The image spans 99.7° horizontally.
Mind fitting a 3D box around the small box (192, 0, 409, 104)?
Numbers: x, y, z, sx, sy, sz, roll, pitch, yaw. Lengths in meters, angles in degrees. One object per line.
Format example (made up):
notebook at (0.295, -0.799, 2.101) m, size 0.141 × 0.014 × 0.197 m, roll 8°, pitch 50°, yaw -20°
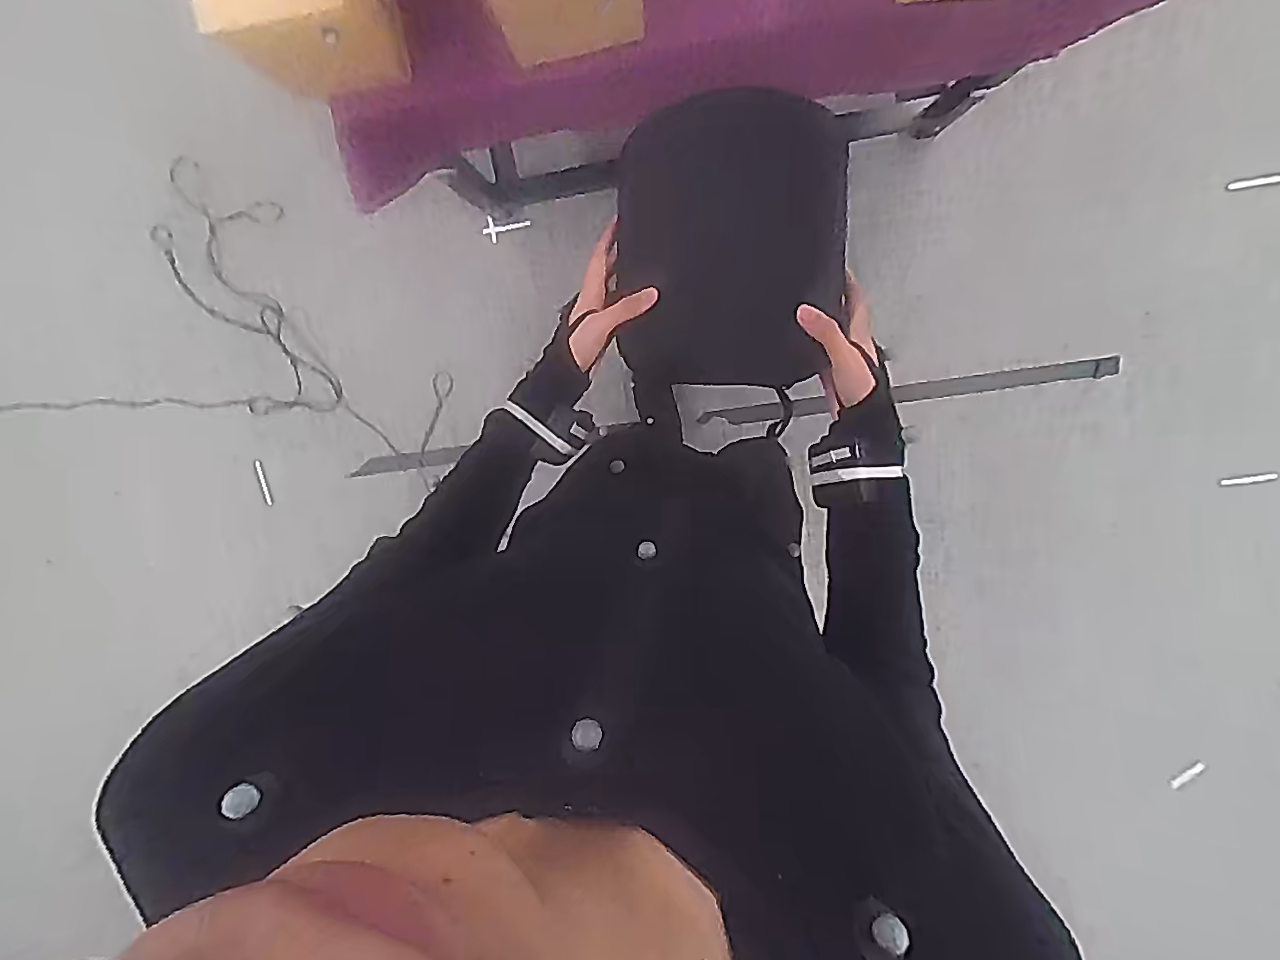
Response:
small box at (-0.421, -0.602, 0.671) m, size 0.179 × 0.176 × 0.168 m, roll -8°, pitch 102°, yaw 3°
